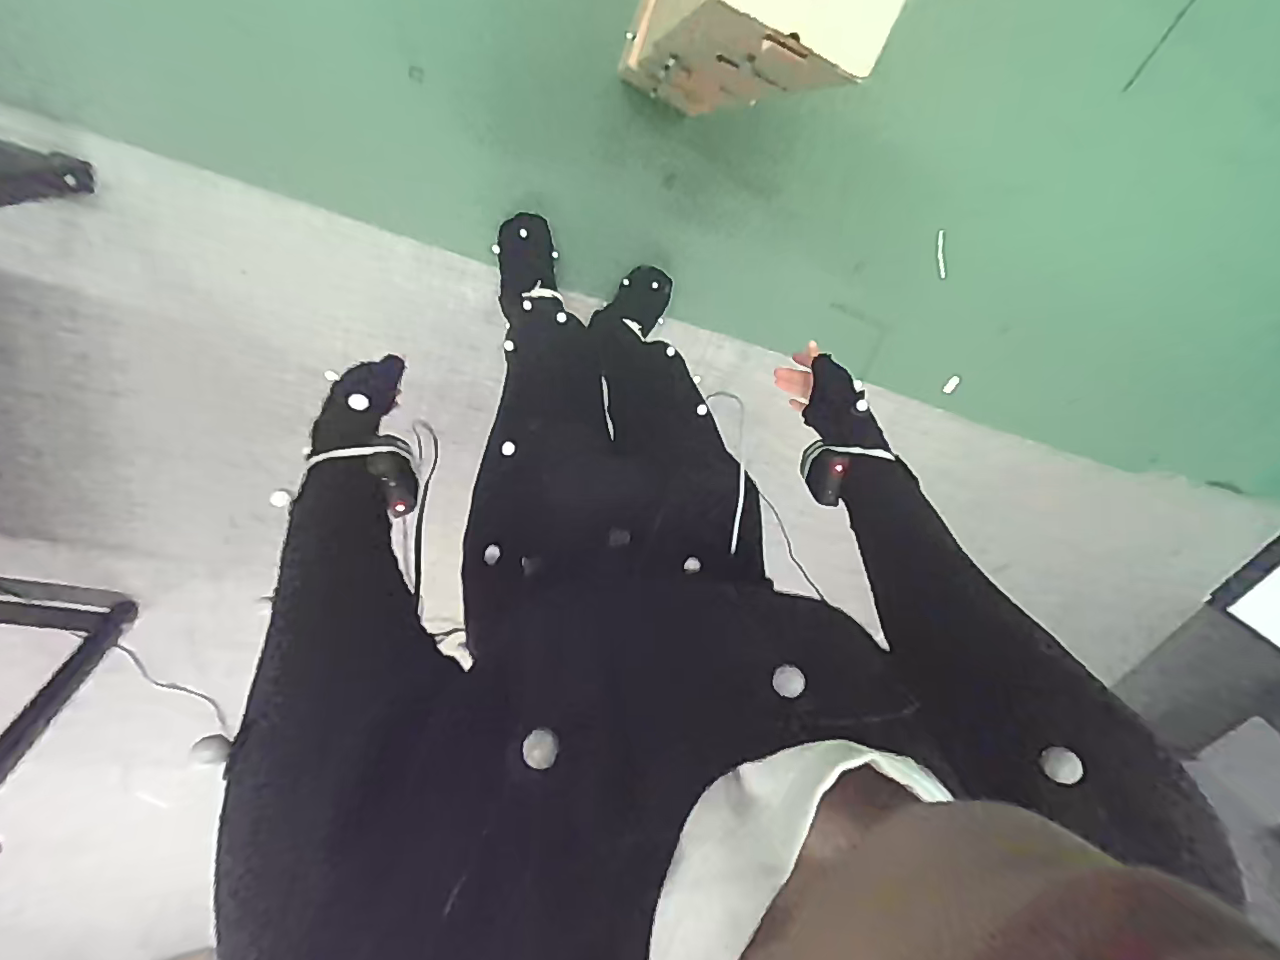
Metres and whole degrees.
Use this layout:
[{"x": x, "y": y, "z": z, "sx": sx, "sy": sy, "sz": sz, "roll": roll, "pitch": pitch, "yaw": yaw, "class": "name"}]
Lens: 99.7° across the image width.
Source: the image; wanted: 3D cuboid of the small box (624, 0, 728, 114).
[{"x": 0.080, "y": -0.768, "z": 0.937, "sx": 0.168, "sy": 0.176, "sz": 0.179, "roll": 15, "pitch": 120, "yaw": -19, "class": "small box"}]

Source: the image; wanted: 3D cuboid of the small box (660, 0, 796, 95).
[{"x": 0.134, "y": -0.601, "z": 0.658, "sx": 0.168, "sy": 0.176, "sz": 0.179, "roll": 14, "pitch": 118, "yaw": -19, "class": "small box"}]

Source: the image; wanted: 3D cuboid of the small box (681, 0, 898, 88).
[{"x": 0.154, "y": -0.514, "z": 0.519, "sx": 0.168, "sy": 0.176, "sz": 0.179, "roll": 14, "pitch": 119, "yaw": -18, "class": "small box"}]
